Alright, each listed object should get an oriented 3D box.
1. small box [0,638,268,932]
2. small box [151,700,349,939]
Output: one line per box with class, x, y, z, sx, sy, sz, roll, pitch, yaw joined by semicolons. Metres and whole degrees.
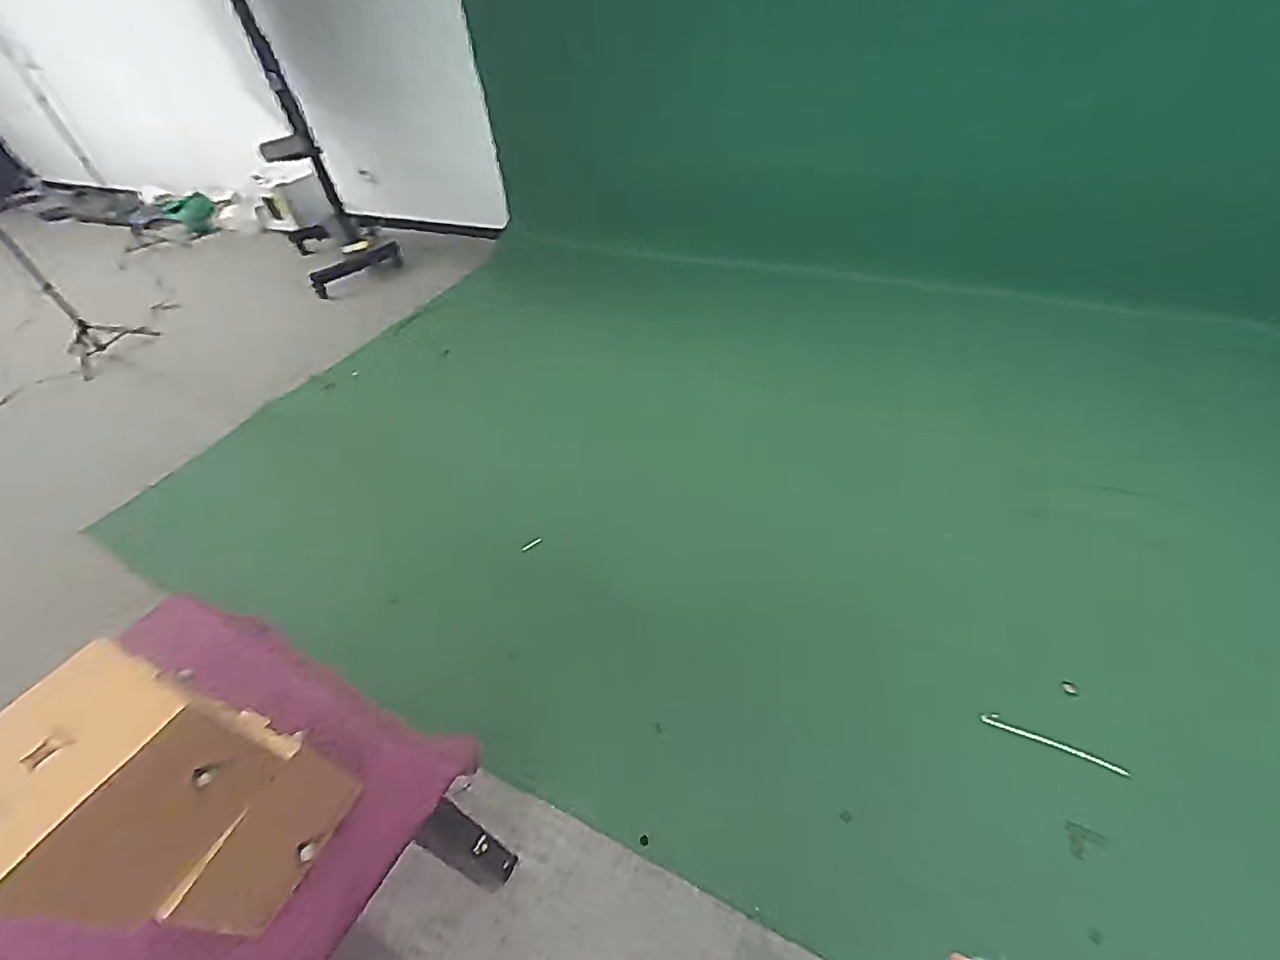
small box;-0.515;0.297;0.533;0.168;0.176;0.179;18;51;23
small box;-0.489;0.407;0.653;0.168;0.176;0.179;13;48;19
